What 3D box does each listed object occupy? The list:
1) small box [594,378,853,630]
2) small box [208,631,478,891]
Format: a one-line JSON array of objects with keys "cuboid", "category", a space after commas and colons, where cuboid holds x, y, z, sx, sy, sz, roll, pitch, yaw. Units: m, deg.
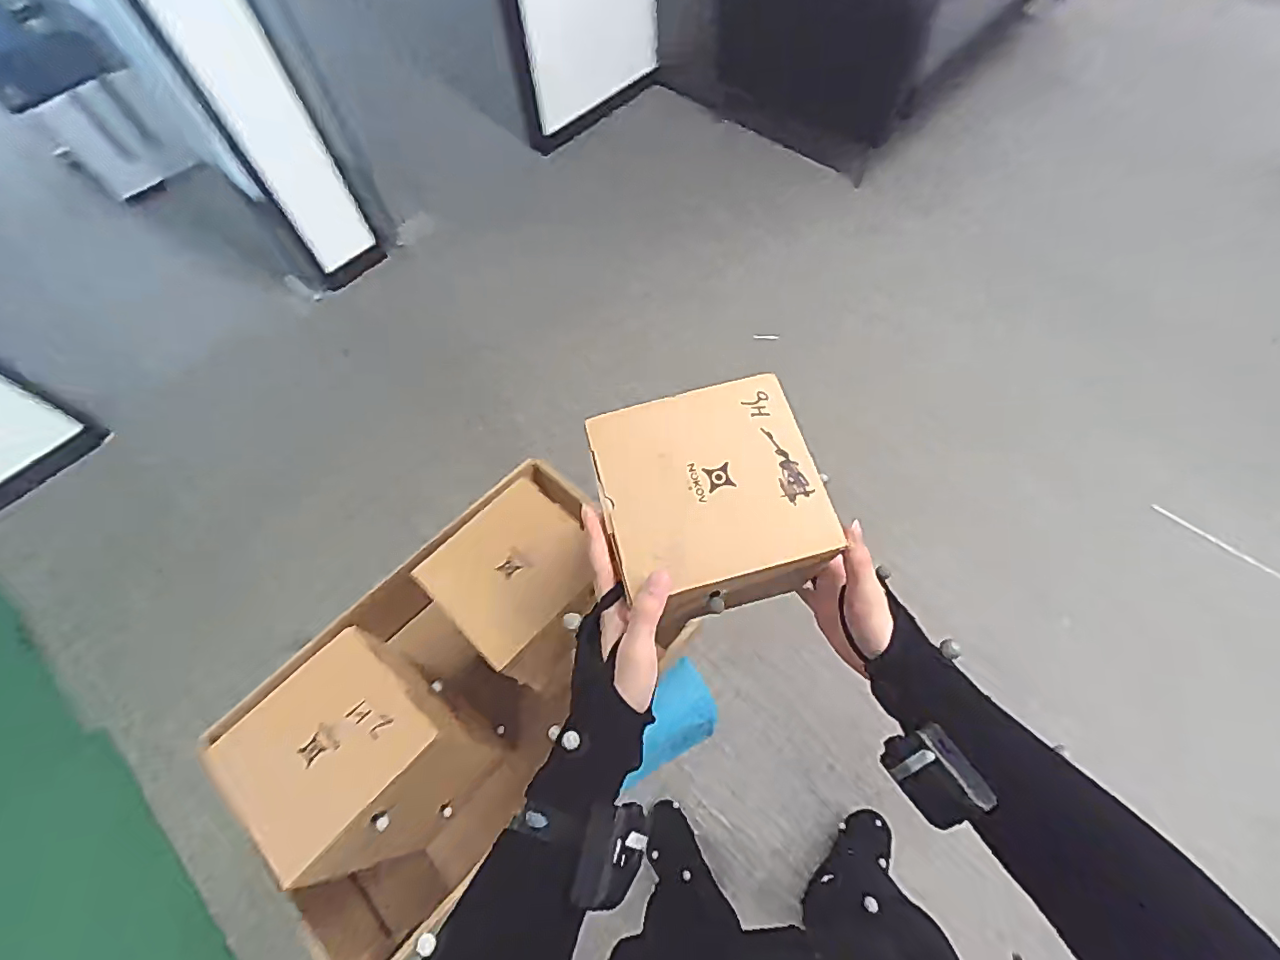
[{"cuboid": [0.067, 0.034, 0.510, 0.179, 0.176, 0.168, -14, 67, -2], "category": "small box"}, {"cuboid": [-0.316, 0.309, 0.611, 0.168, 0.176, 0.179, 38, 69, 21], "category": "small box"}]
